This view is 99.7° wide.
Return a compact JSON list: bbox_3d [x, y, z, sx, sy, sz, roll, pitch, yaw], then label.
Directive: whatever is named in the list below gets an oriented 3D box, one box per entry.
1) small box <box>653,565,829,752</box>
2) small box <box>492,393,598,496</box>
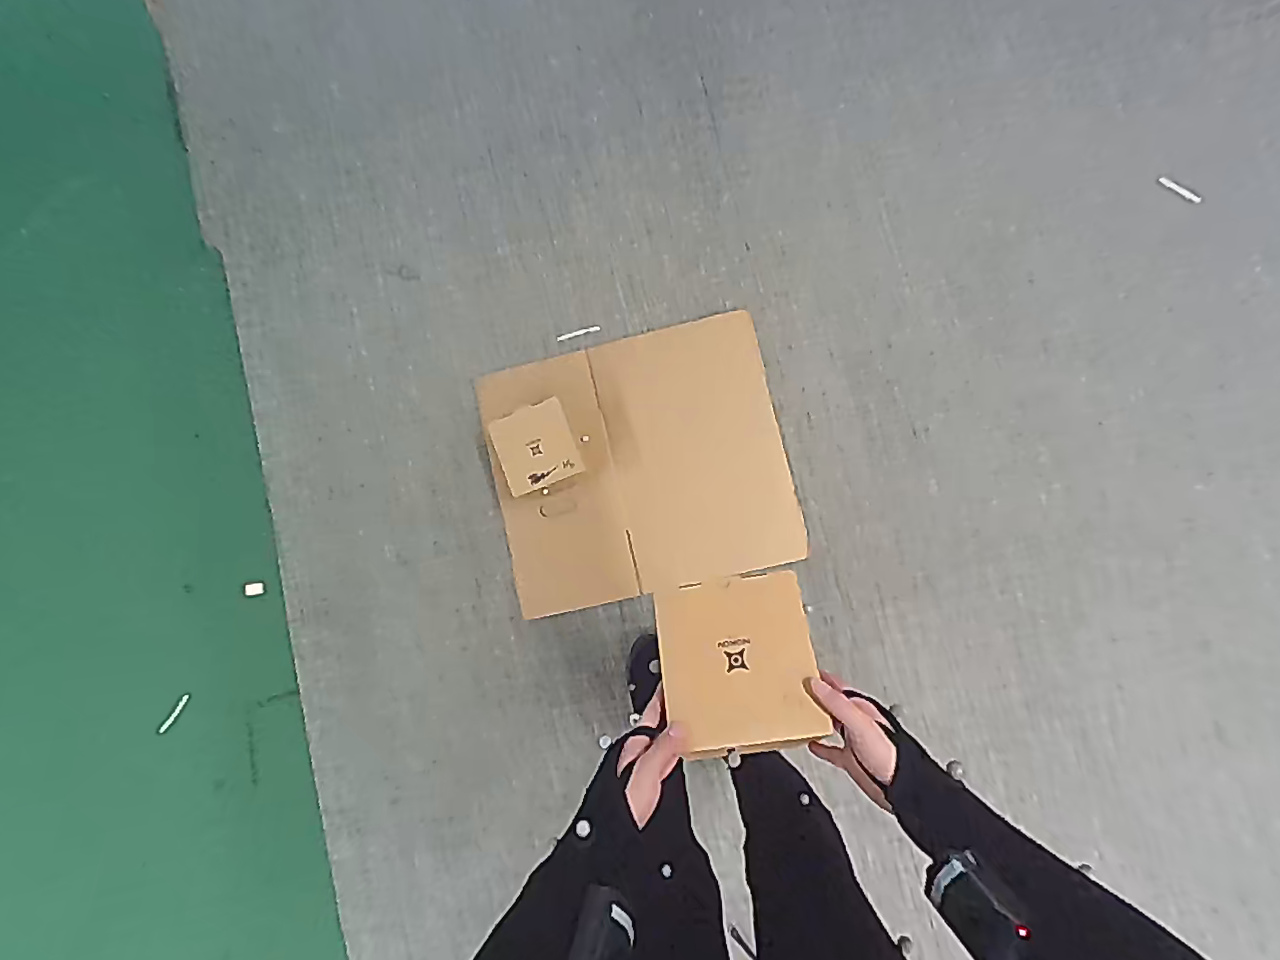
[{"bbox_3d":[0.118,0.223,0.650,0.168,0.176,0.179,-11,58,7],"label":"small box"},{"bbox_3d":[-0.208,-0.072,1.221,0.168,0.176,0.179,-21,84,3],"label":"small box"}]
